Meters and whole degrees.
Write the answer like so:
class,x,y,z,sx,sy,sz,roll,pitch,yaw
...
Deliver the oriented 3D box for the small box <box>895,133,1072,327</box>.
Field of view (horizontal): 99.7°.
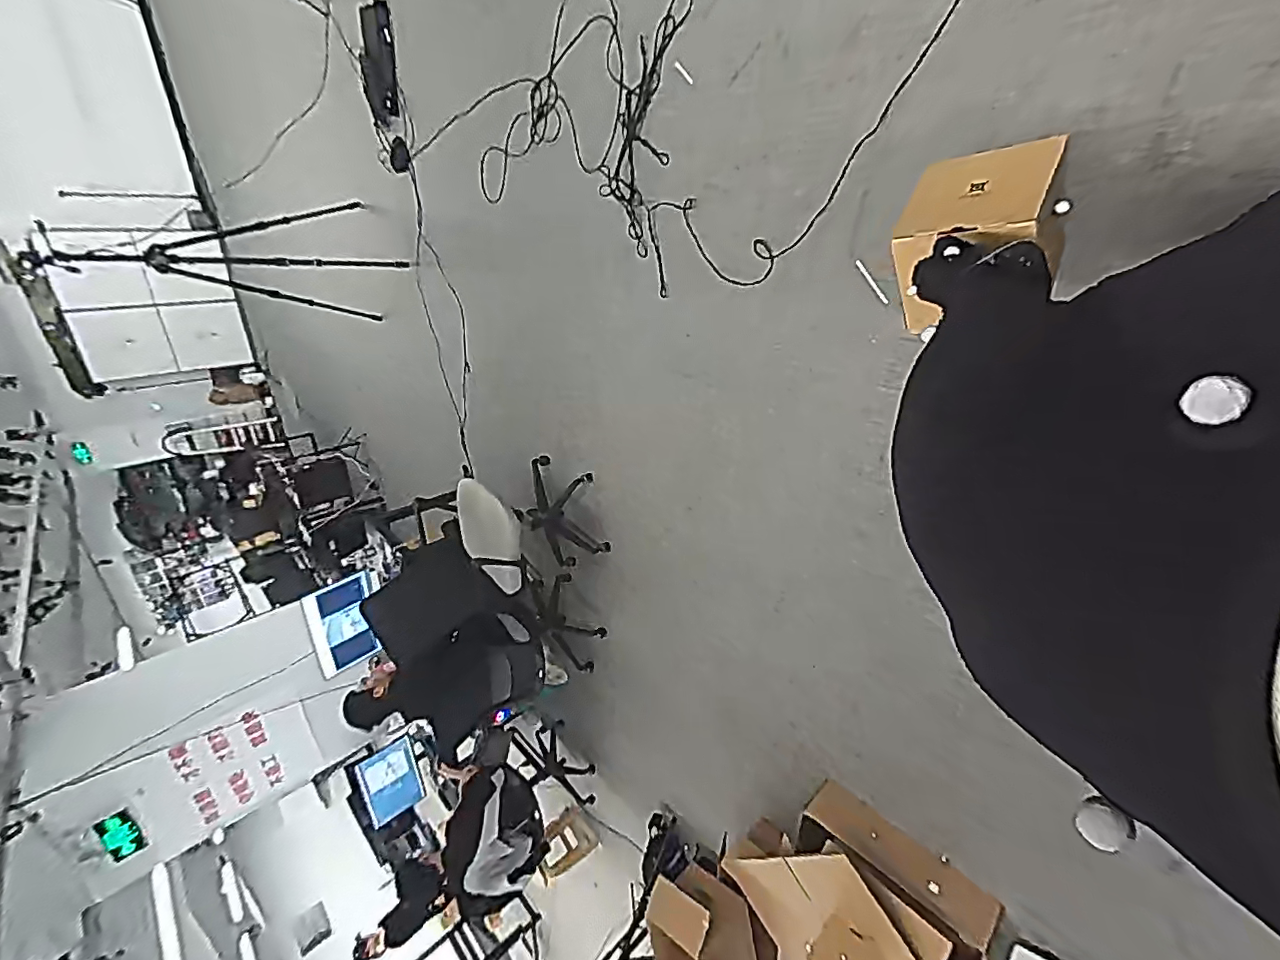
class,x,y,z,sx,sy,sz,roll,pitch,yaw
small box,0.484,-0.339,0.762,0.168,0.179,0.176,12,153,43
